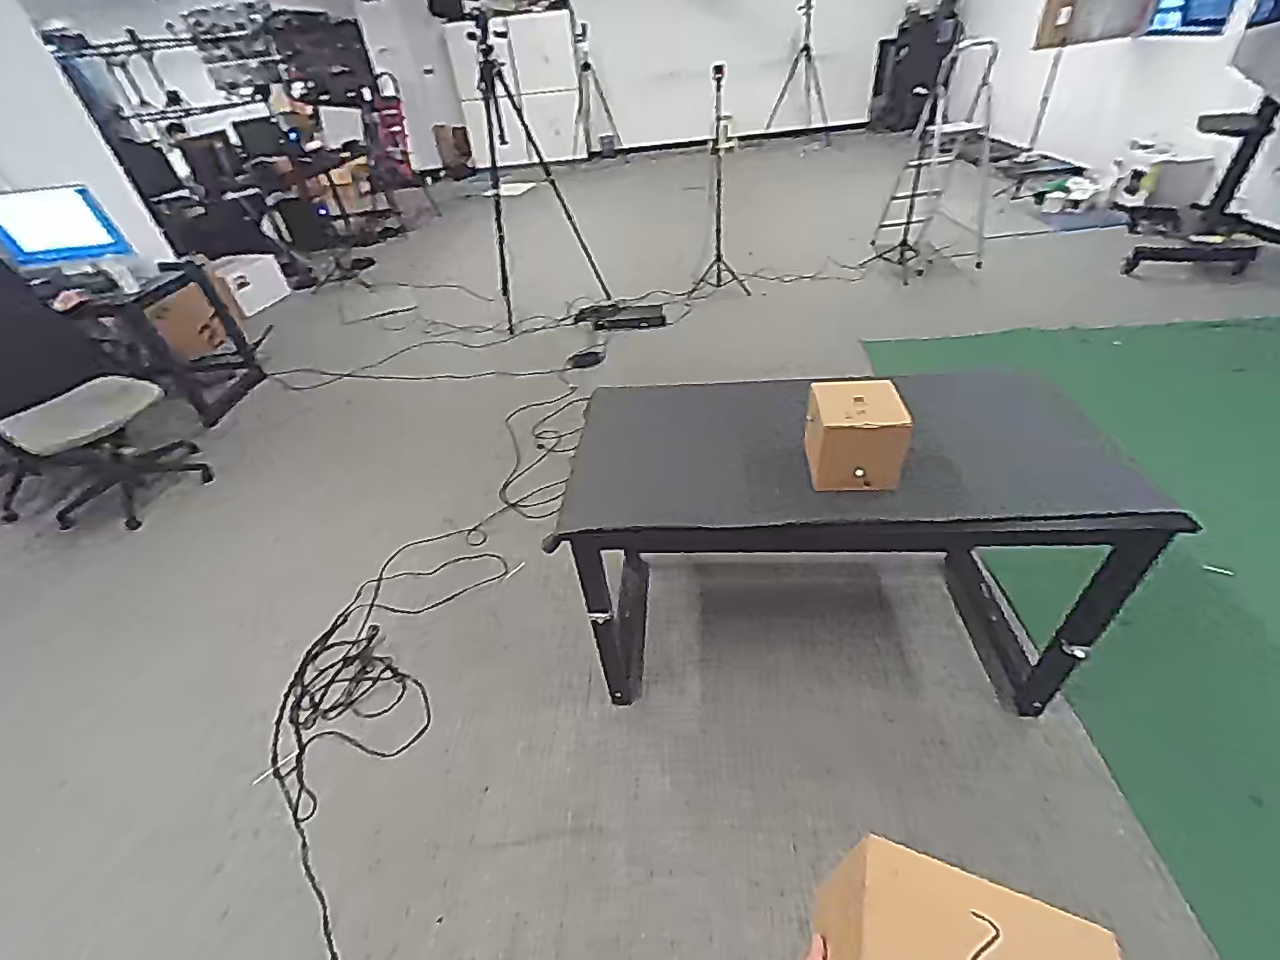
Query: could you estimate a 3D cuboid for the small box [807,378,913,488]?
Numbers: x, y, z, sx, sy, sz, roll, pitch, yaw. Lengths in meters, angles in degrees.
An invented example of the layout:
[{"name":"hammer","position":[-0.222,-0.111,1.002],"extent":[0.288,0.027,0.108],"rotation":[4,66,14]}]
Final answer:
[{"name":"small box","position":[0.459,-0.102,1.157],"extent":[0.168,0.176,0.179],"rotation":[-1,39,8]}]
